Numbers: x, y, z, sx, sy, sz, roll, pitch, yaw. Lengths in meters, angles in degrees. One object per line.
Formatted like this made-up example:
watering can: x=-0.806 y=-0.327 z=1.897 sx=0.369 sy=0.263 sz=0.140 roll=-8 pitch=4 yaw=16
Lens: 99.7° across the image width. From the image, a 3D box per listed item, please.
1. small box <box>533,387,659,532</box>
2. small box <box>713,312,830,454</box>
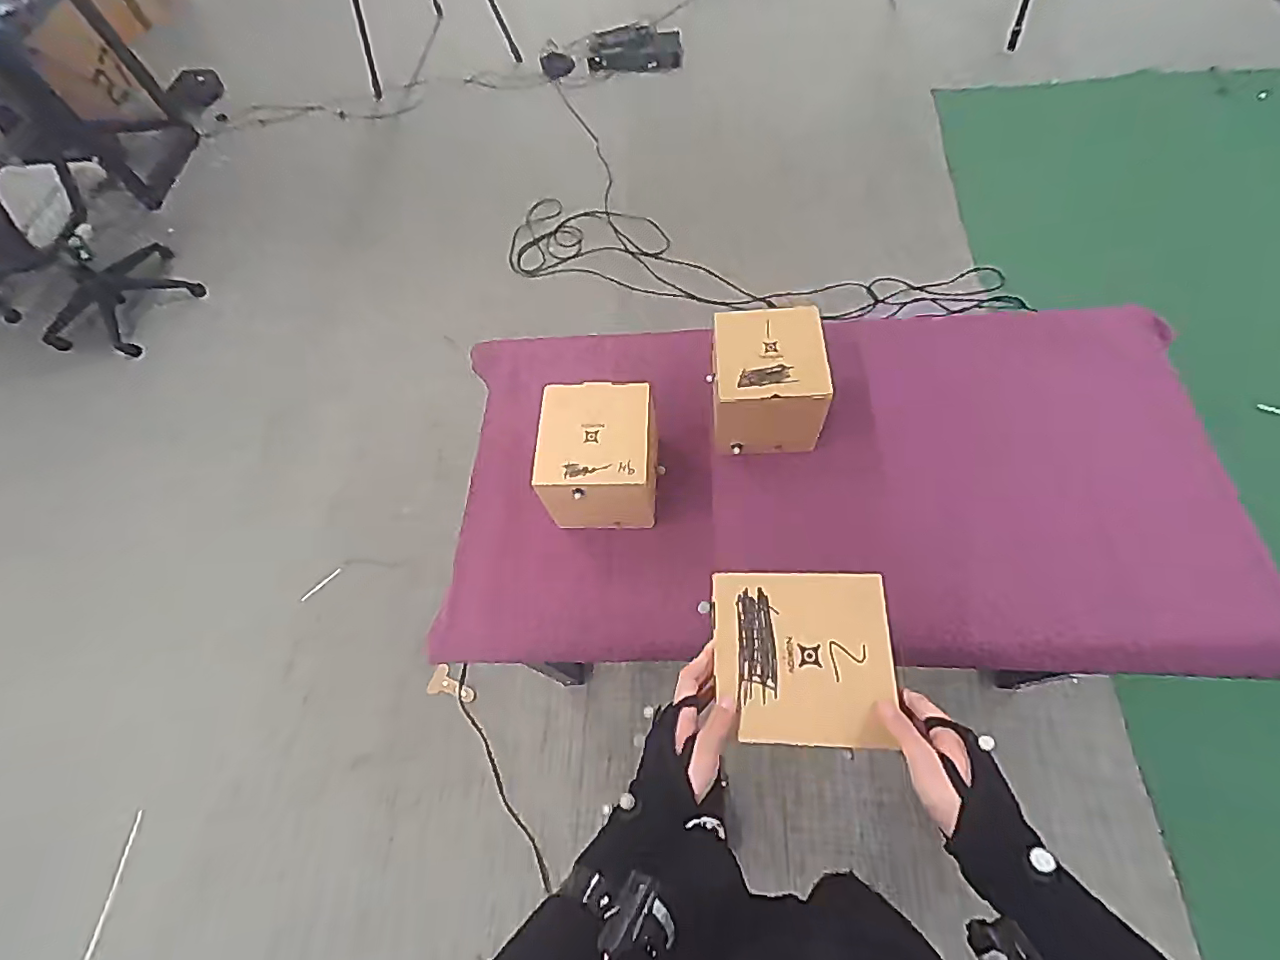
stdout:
small box: x=-0.059 y=-0.029 z=0.867 sx=0.168 sy=0.176 sz=0.179 roll=-1 pitch=62 yaw=8
small box: x=0.208 y=-0.151 z=0.901 sx=0.168 sy=0.176 sz=0.179 roll=-2 pitch=62 yaw=6
